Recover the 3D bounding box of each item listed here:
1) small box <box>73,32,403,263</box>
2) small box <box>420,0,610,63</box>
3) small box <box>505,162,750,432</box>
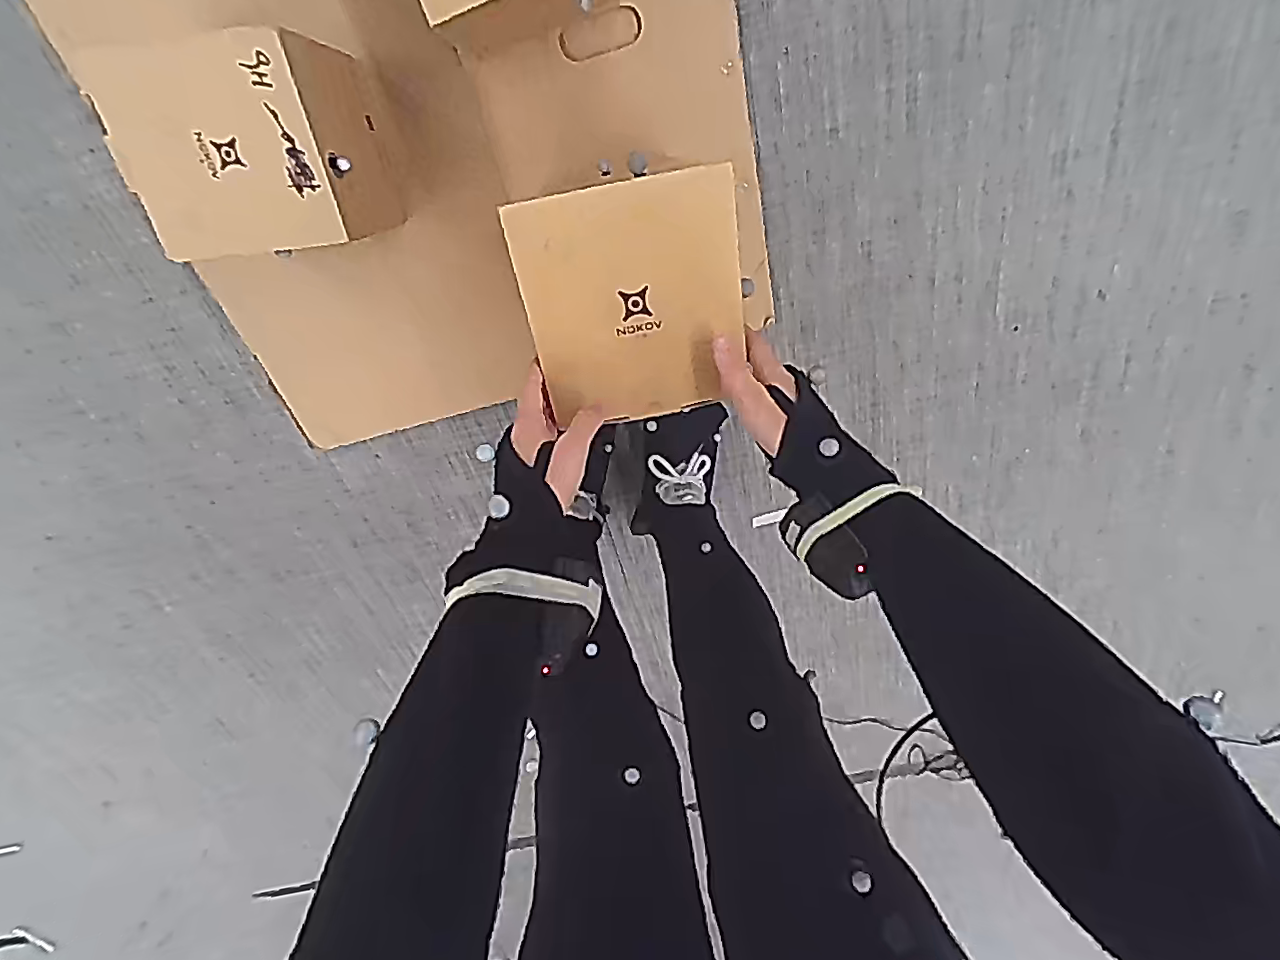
[{"bbox_3d":[-0.373,-0.325,0.547,0.179,0.176,0.168,-6,121,1],"label":"small box"},{"bbox_3d":[-0.121,-0.499,0.467,0.179,0.176,0.168,-19,119,6],"label":"small box"},{"bbox_3d":[-0.008,-0.167,0.479,0.168,0.176,0.179,-11,121,1],"label":"small box"}]
